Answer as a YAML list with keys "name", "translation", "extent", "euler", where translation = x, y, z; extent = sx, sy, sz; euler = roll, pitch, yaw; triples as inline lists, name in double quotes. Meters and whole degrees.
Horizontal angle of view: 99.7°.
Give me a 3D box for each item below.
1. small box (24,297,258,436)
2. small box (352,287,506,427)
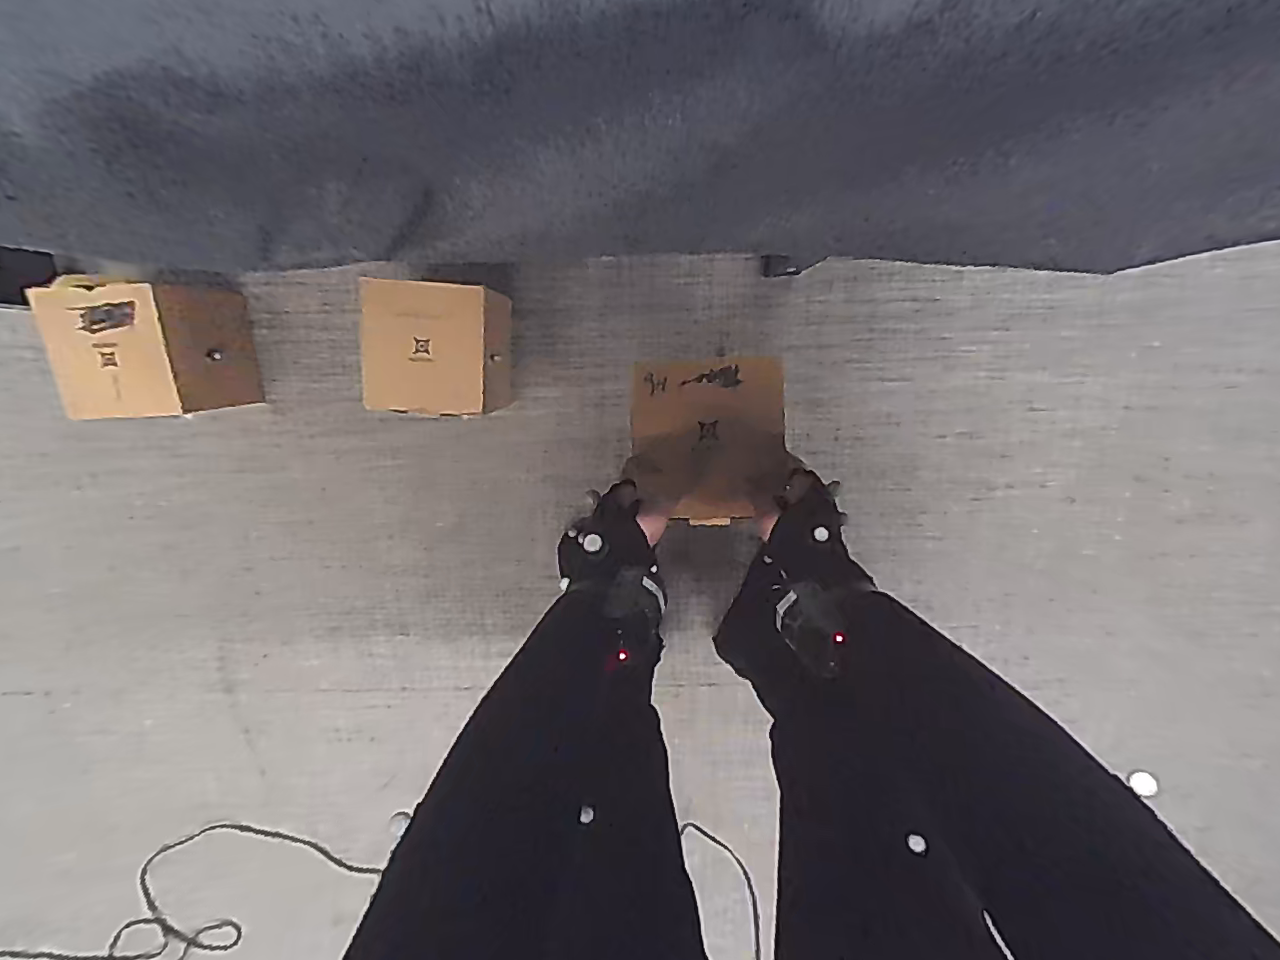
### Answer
- name: "small box"
  translation: [-0.709, -0.165, 0.792]
  extent: [0.168, 0.176, 0.179]
  euler: [-3, 104, 1]
- name: "small box"
  translation: [-0.295, -0.177, 0.793]
  extent: [0.168, 0.176, 0.179]
  euler: [2, 101, -2]
